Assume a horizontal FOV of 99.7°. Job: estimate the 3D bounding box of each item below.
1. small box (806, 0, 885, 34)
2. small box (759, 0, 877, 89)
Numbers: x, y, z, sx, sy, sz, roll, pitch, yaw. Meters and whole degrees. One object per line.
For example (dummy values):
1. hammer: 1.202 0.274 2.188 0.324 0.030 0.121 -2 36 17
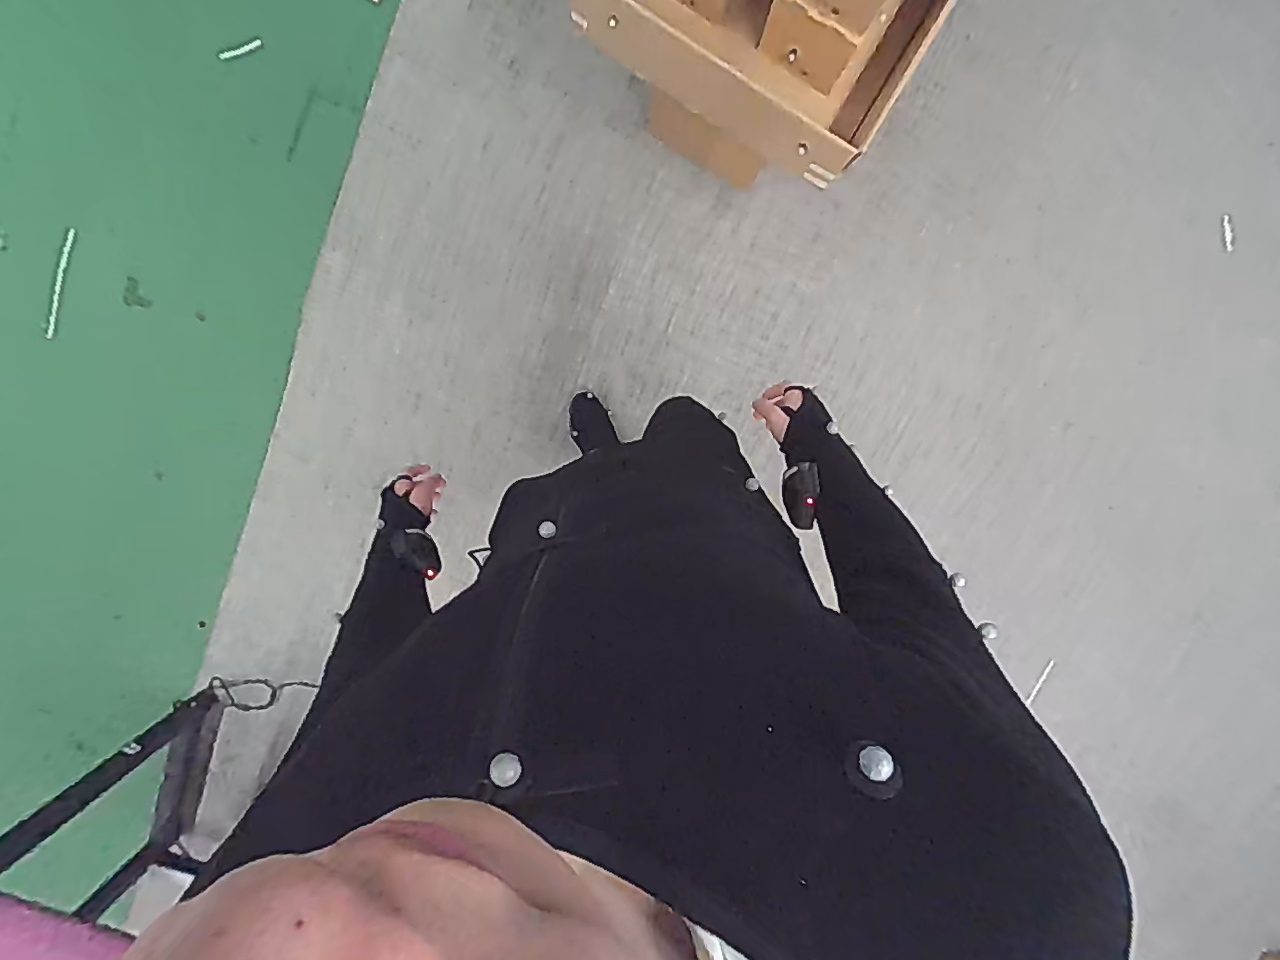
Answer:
1. small box: 0.337 -0.828 0.793 0.168 0.176 0.179 30 100 -6
2. small box: 0.332 -0.853 0.955 0.168 0.176 0.179 28 101 -6
